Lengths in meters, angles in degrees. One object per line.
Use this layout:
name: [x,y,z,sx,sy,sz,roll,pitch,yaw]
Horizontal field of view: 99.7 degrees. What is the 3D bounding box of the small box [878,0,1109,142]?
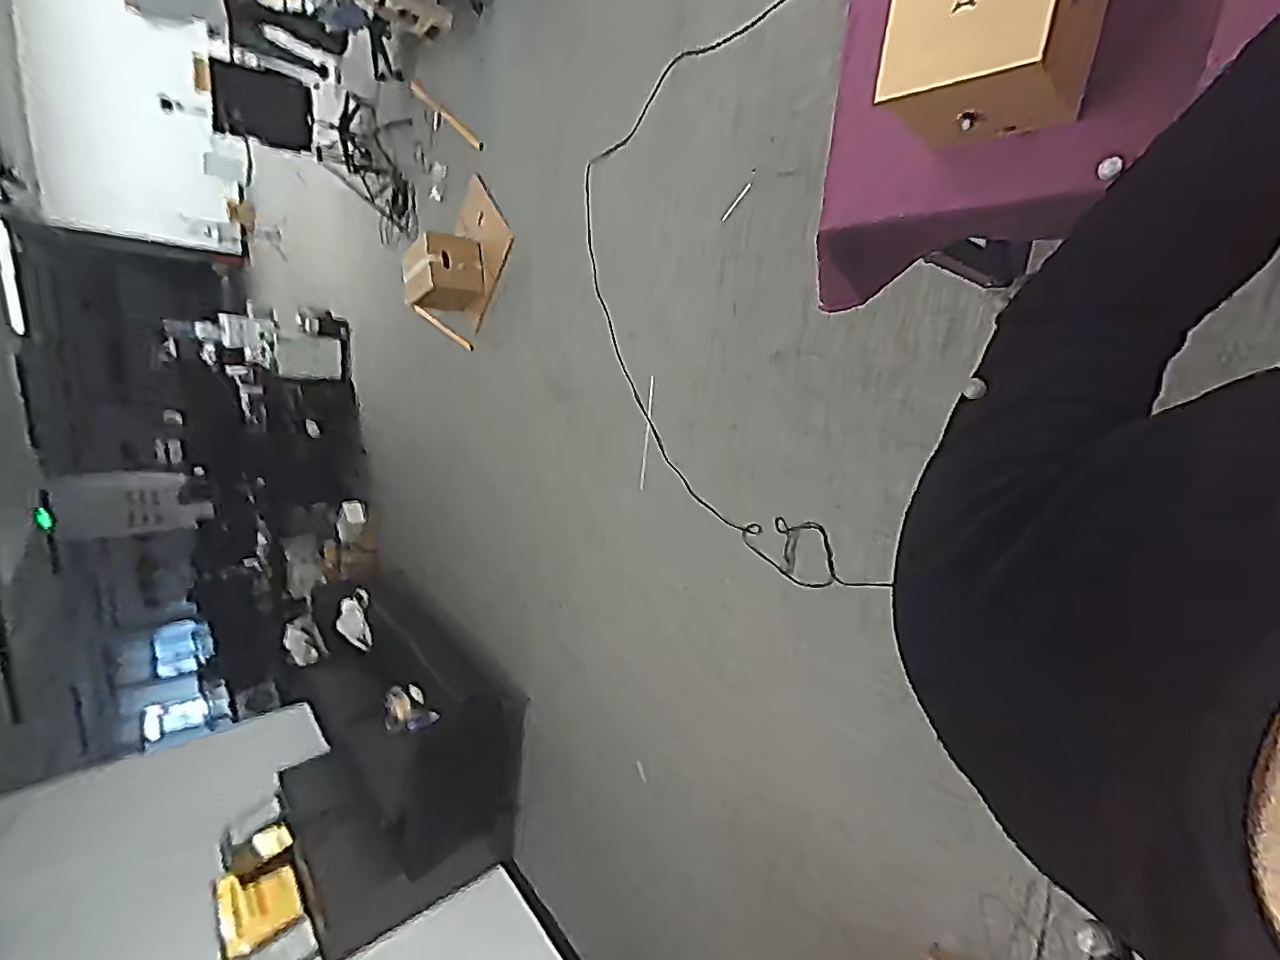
small box: [0.398,-0.504,0.605,0.168,0.176,0.179,21,110,44]
